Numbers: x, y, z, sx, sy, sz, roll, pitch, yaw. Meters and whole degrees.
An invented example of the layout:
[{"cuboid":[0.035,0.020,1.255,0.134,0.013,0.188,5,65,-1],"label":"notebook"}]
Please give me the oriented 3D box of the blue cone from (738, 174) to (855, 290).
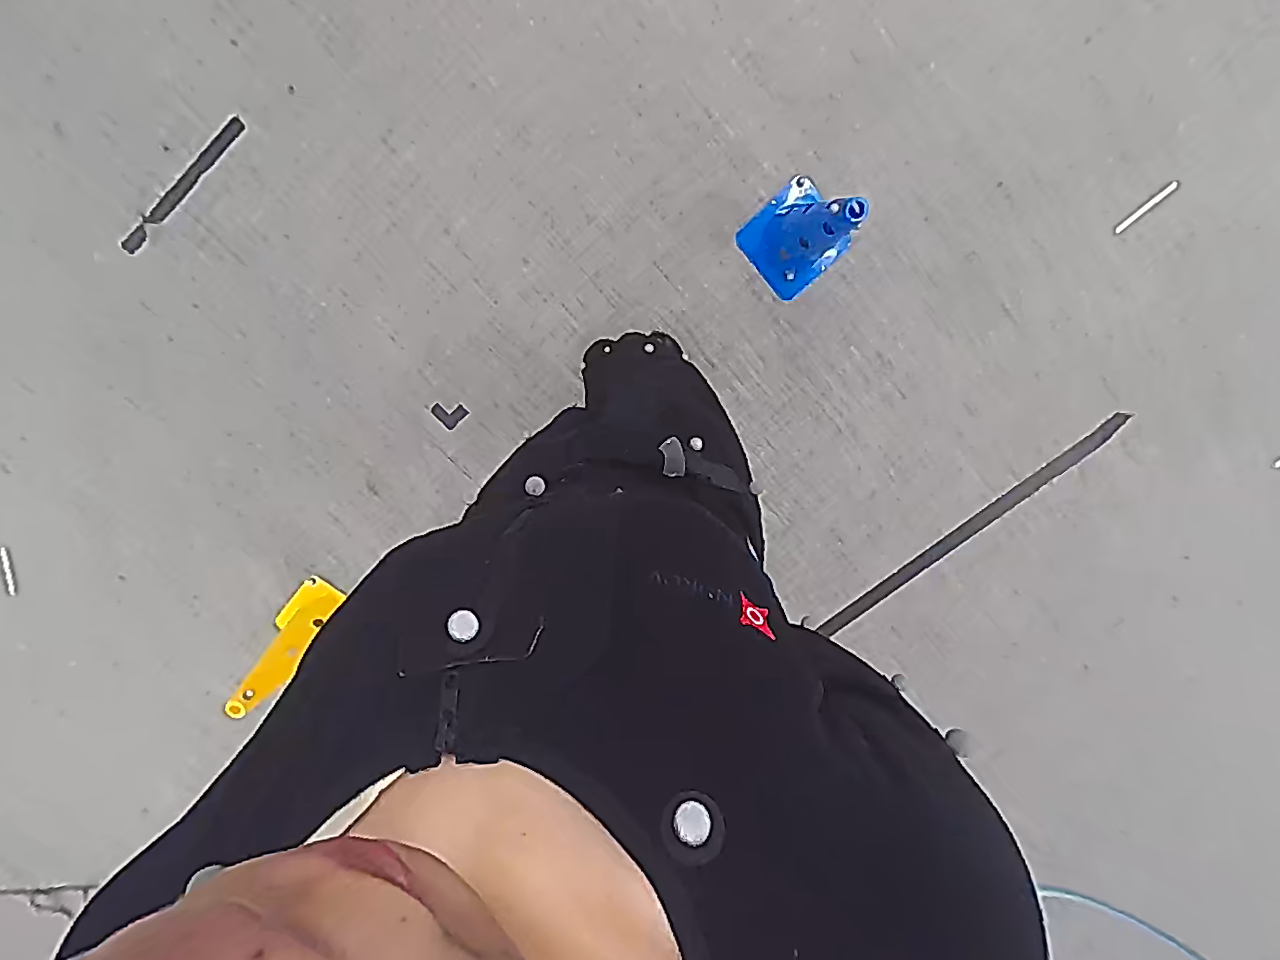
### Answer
[{"cuboid":[0.337,-0.506,1.054,0.193,0.380,0.192,-40,102,10],"label":"blue cone"}]
